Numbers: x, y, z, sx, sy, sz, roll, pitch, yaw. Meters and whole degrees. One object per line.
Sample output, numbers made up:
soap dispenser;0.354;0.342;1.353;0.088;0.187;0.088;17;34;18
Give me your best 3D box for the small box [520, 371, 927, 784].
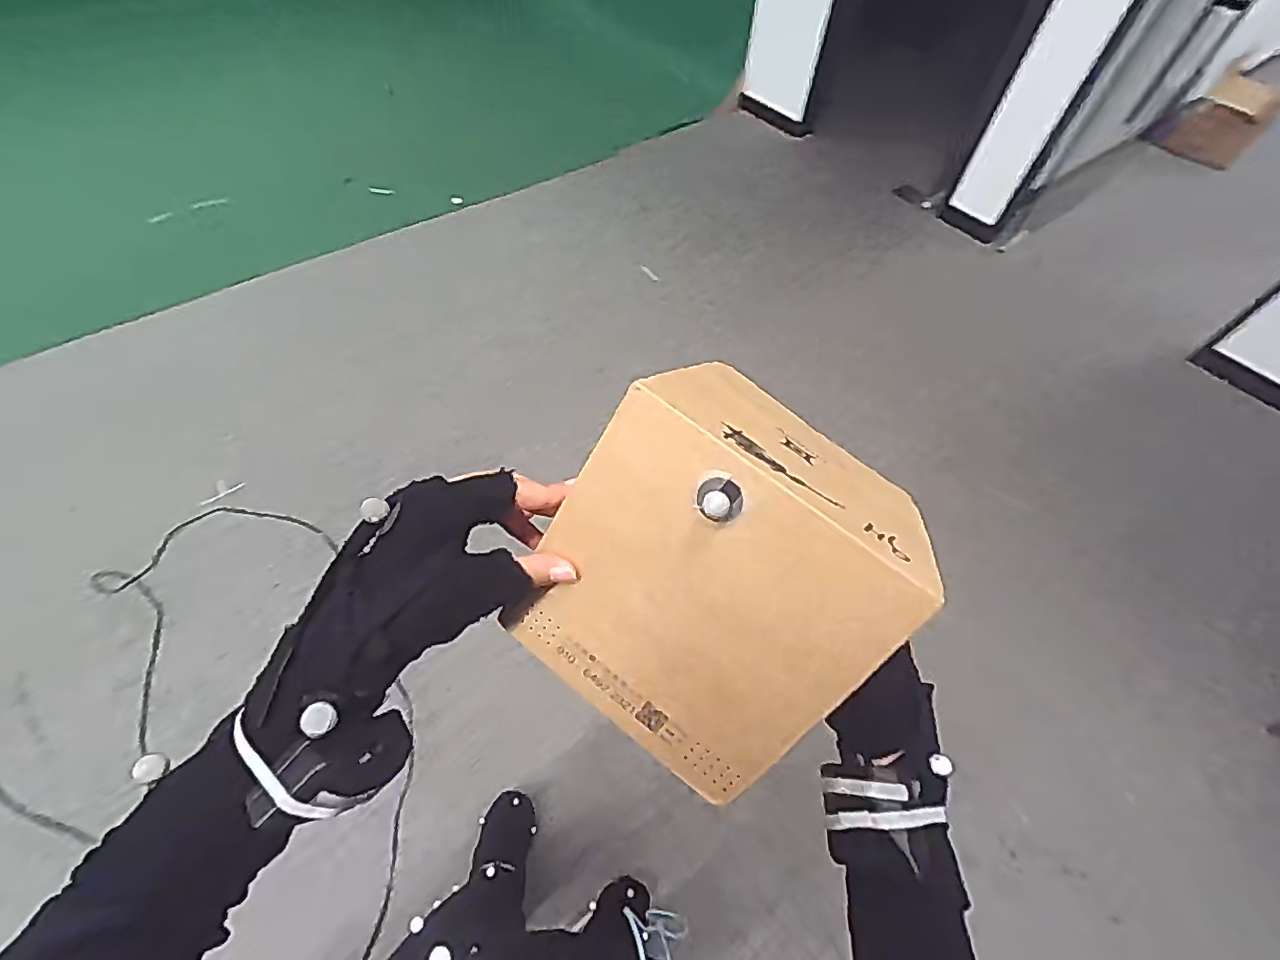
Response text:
small box;0.051;0.046;0.357;0.168;0.176;0.179;36;23;9
